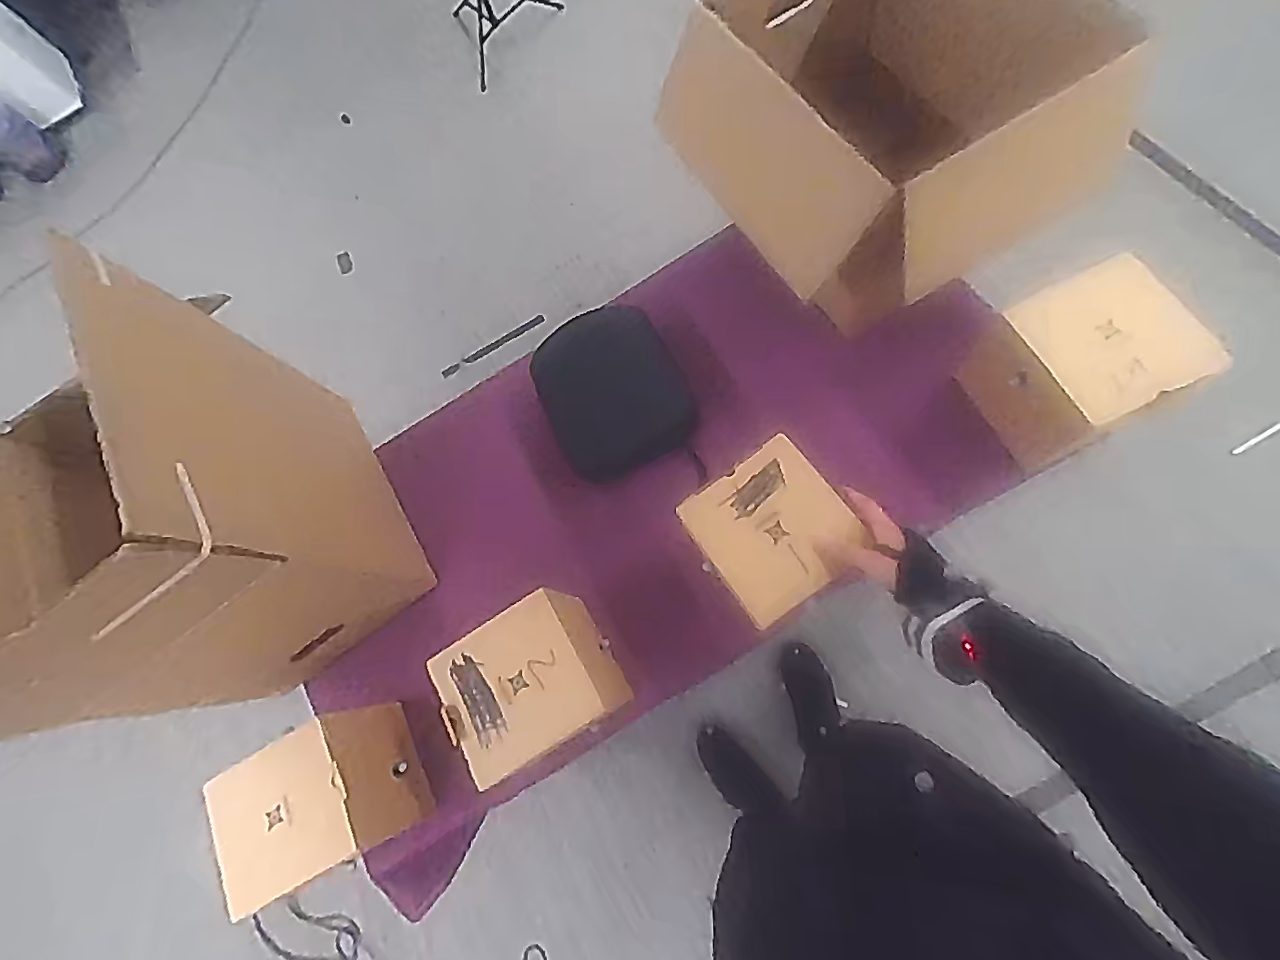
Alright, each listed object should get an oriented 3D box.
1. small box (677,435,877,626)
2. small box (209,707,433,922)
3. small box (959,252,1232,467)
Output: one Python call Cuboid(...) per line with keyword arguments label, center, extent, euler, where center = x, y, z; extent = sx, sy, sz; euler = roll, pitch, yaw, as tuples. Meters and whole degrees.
Cuboid(label="small box", center=(0.170, 0.077, 0.710), extent=(0.168, 0.176, 0.179), euler=(-36, 71, 0))
Cuboid(label="small box", center=(-0.418, 0.430, 0.728), extent=(0.179, 0.176, 0.168), euler=(-31, 70, 0))
Cuboid(label="small box", center=(0.552, -0.143, 0.692), extent=(0.168, 0.176, 0.179), euler=(-26, 70, 4))
